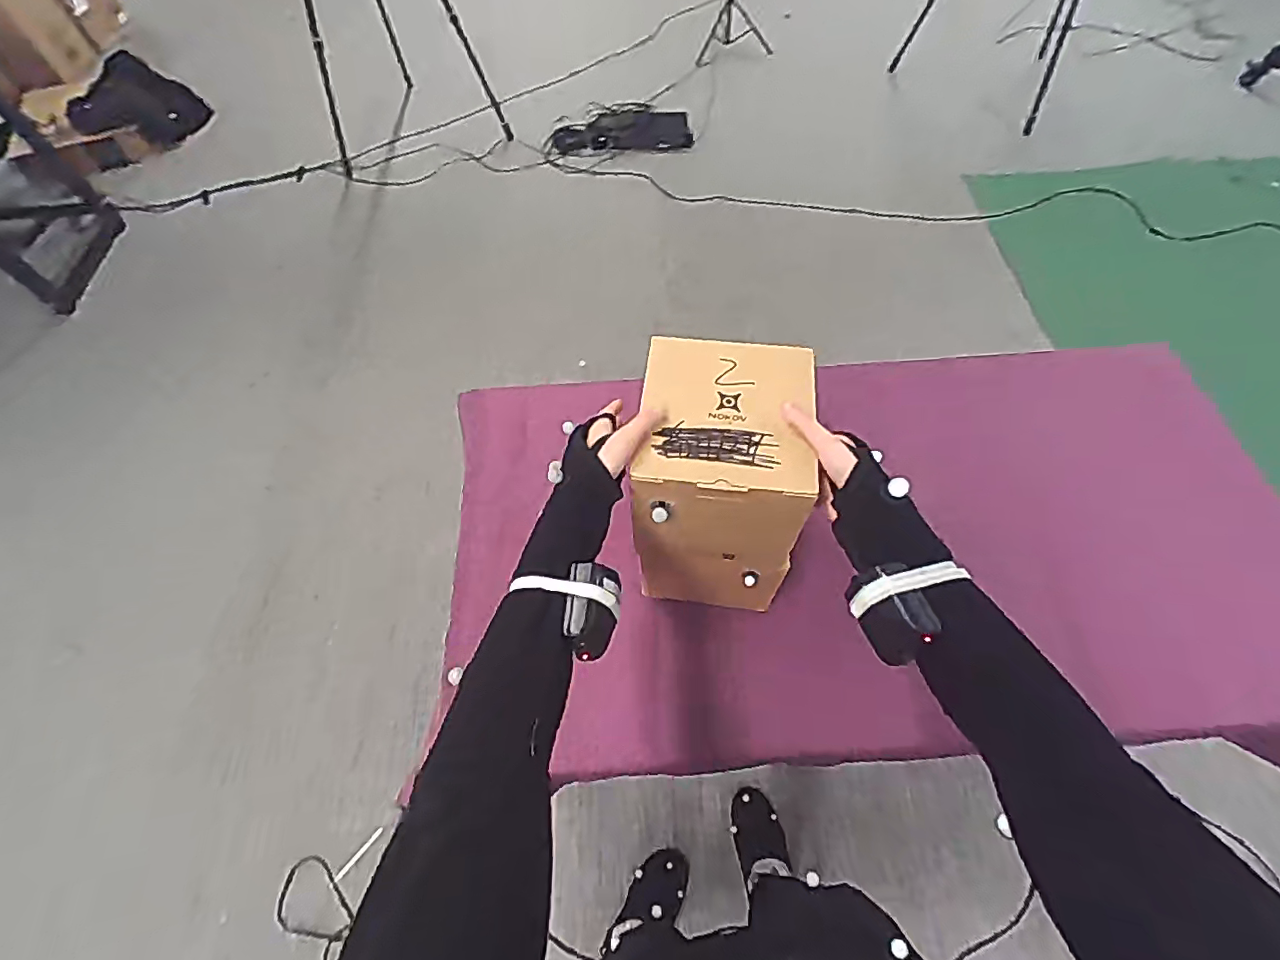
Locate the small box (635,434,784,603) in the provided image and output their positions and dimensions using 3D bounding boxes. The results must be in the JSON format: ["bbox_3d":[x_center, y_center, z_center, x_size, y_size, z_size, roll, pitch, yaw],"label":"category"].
[{"bbox_3d":[0.092,0.058,0.733,0.179,0.176,0.168,6,59,5],"label":"small box"}]
